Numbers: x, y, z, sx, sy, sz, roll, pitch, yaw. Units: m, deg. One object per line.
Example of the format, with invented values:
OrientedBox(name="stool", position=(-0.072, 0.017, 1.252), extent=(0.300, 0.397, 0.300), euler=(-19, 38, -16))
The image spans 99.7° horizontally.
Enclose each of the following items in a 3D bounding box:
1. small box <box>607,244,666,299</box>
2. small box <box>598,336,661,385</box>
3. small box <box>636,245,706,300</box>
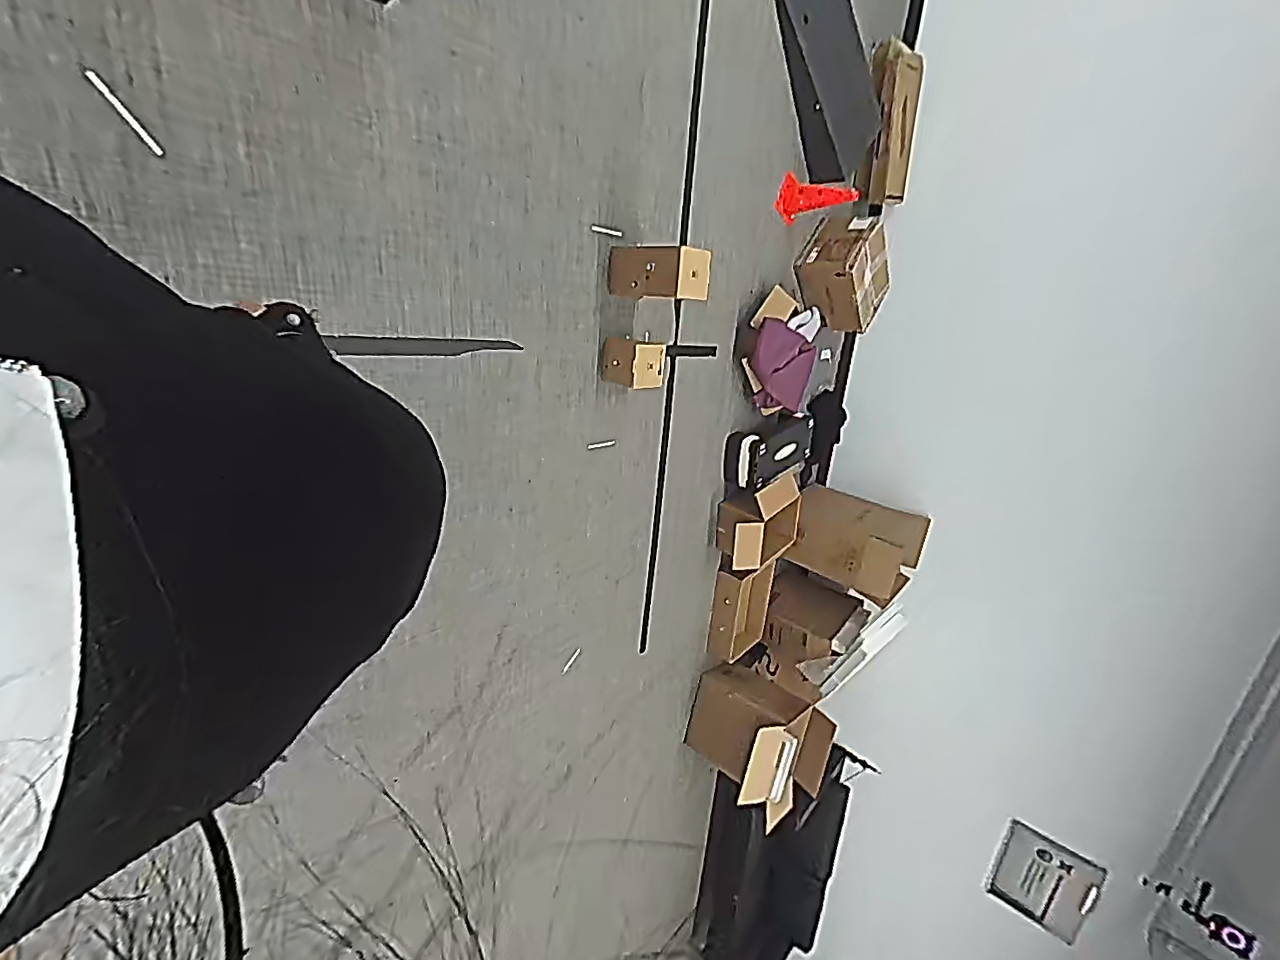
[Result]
OrientedBox(name="small box", position=(-0.009, -0.774, 2.005), extent=(0.168, 0.176, 0.179), euler=(-18, 119, -46))
OrientedBox(name="small box", position=(-0.045, -0.465, 2.107), extent=(0.179, 0.176, 0.168), euler=(-13, 116, -47))
OrientedBox(name="small box", position=(0.109, -0.731, 1.902), extent=(0.179, 0.176, 0.168), euler=(-16, 117, -45))
